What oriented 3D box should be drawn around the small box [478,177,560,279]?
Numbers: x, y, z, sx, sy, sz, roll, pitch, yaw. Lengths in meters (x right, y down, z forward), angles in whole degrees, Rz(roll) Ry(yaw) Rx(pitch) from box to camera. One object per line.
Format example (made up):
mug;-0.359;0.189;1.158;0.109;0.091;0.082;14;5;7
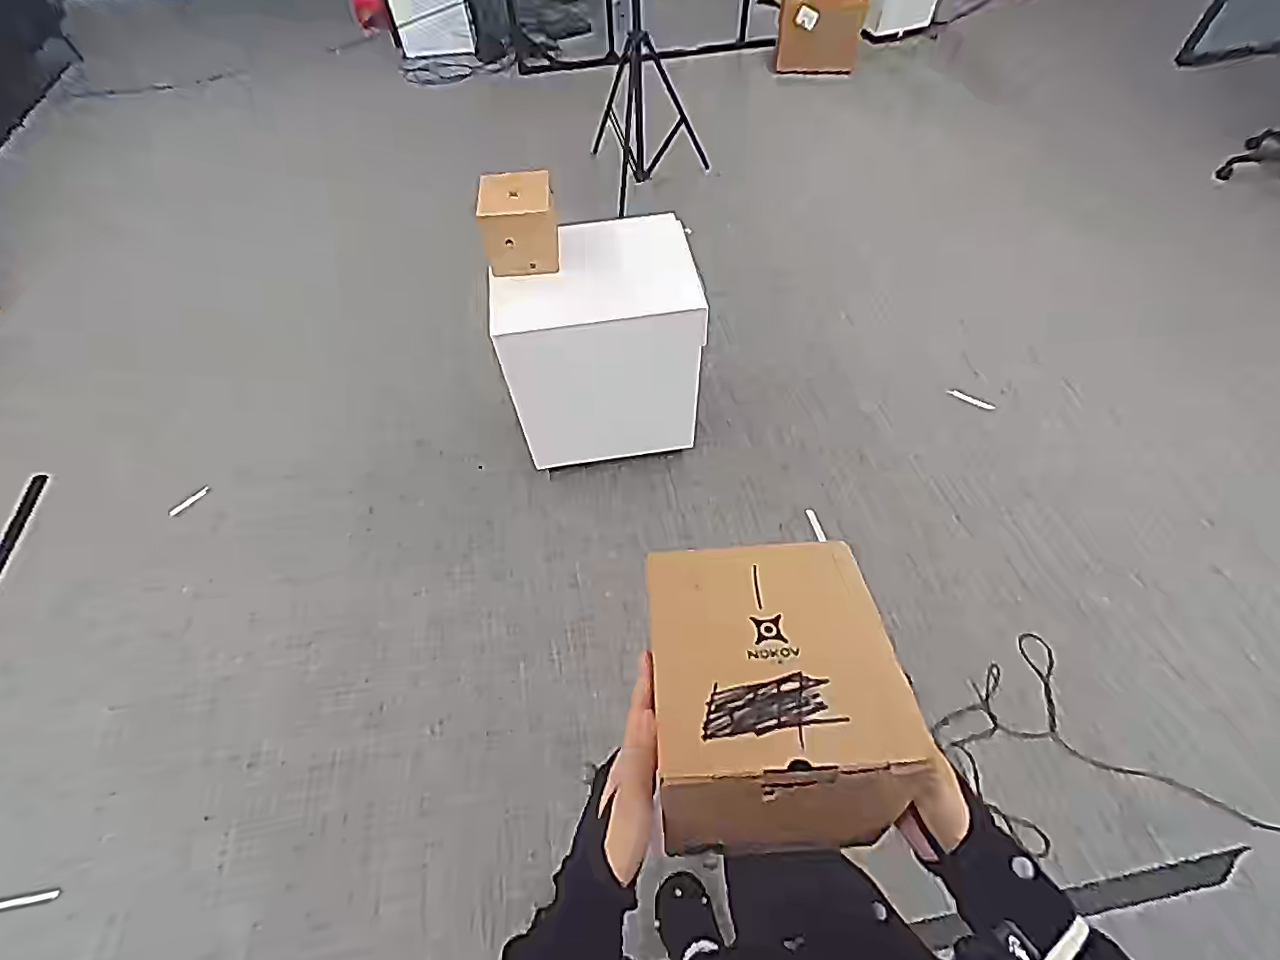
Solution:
small box;-0.293;-0.615;1.336;0.168;0.176;0.179;-5;57;-2
